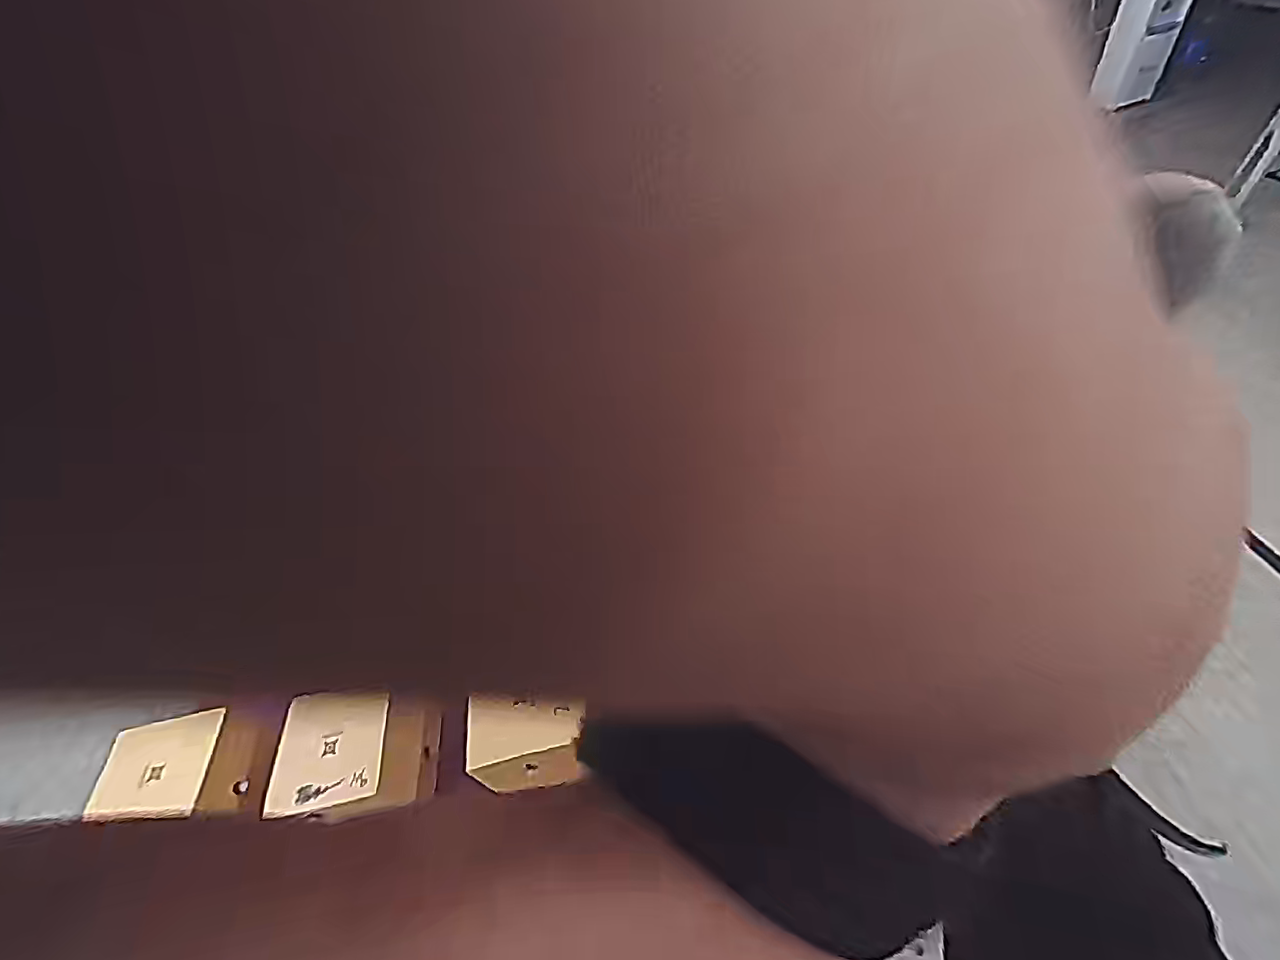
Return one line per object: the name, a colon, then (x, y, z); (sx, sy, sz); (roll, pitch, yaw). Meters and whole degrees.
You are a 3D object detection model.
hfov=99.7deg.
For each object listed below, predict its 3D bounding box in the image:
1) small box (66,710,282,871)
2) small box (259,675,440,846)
small box: (-0.702, 0.490, 0.851); (0.179, 0.176, 0.168); (-14, 46, 0)
small box: (-0.427, 0.433, 0.833); (0.168, 0.176, 0.179); (-15, 46, 3)
